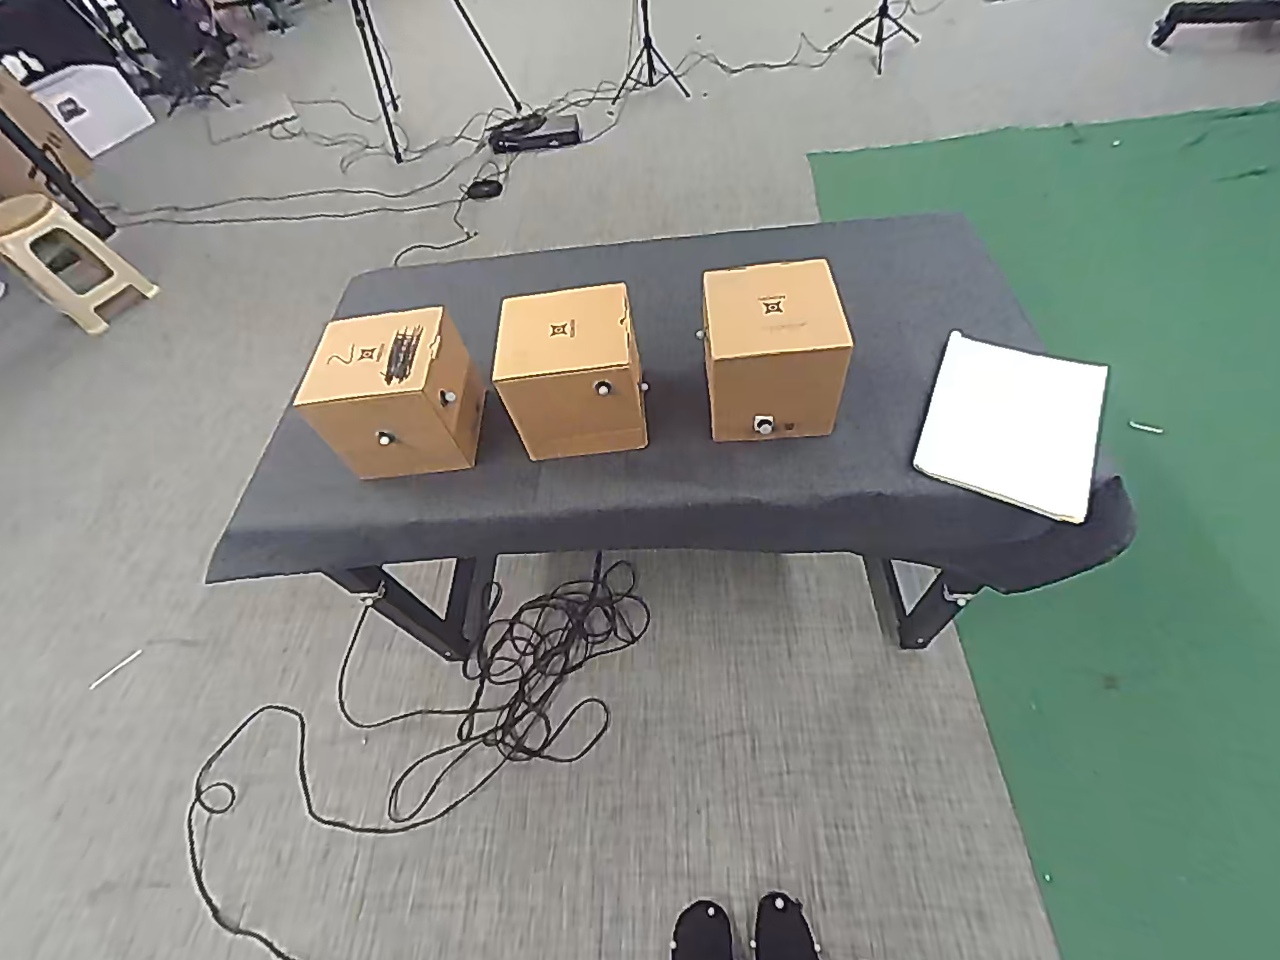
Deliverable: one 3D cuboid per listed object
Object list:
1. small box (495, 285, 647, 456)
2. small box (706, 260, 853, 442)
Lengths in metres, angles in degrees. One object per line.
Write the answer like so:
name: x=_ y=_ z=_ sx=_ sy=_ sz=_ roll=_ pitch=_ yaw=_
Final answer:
small box: x=-0.089 y=-0.150 z=0.775 sx=0.179 sy=0.176 sz=0.168 roll=-7 pitch=54 yaw=3
small box: x=0.180 y=-0.174 z=0.752 sx=0.168 sy=0.176 sz=0.179 roll=-5 pitch=56 yaw=7
